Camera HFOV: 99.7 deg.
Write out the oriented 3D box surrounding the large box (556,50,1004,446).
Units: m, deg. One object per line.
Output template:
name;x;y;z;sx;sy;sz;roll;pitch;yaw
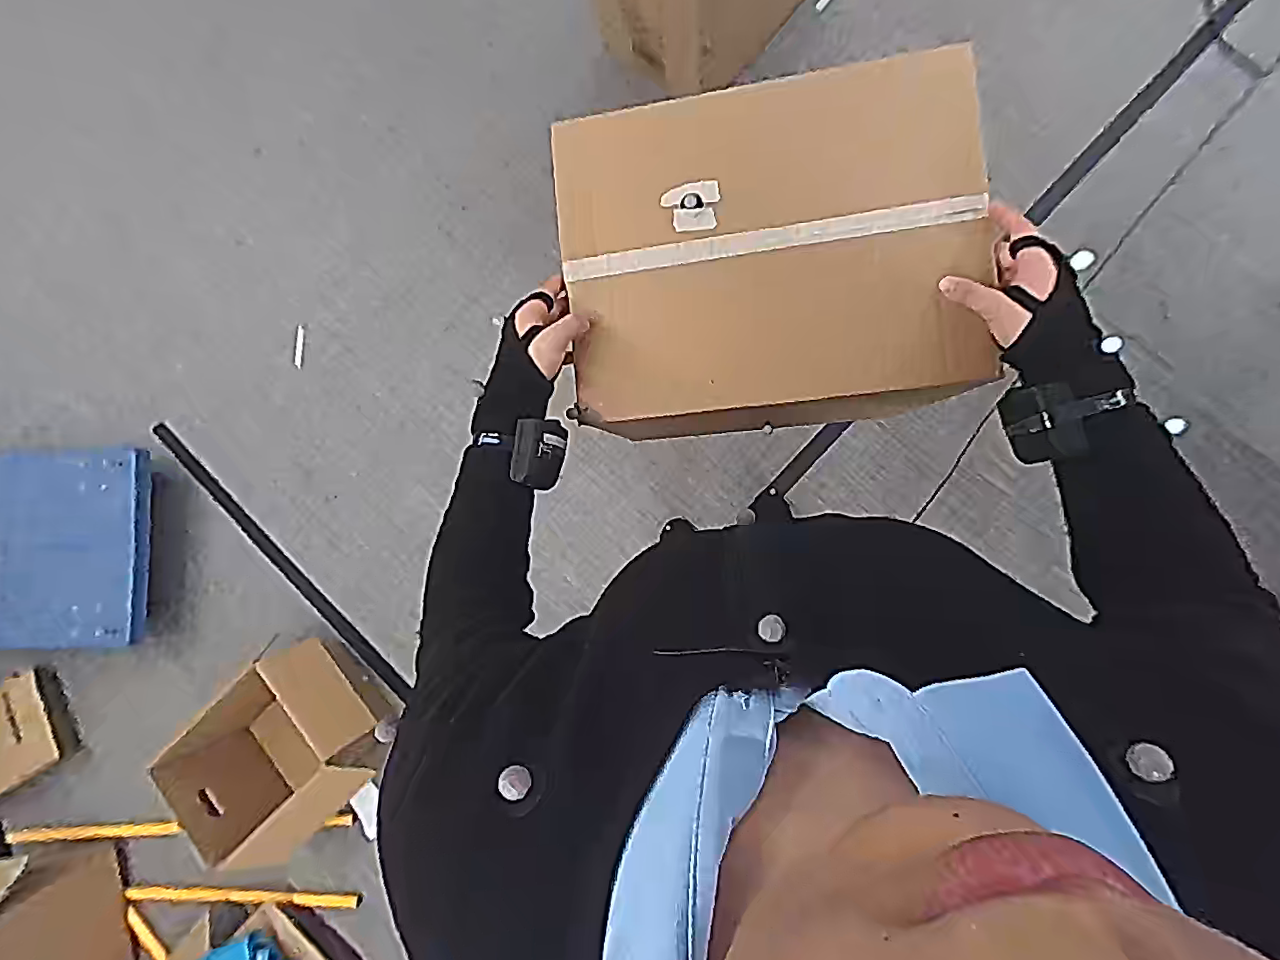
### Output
large box;0.147;-0.223;0.670;0.408;0.320;0.320;-6;88;10
